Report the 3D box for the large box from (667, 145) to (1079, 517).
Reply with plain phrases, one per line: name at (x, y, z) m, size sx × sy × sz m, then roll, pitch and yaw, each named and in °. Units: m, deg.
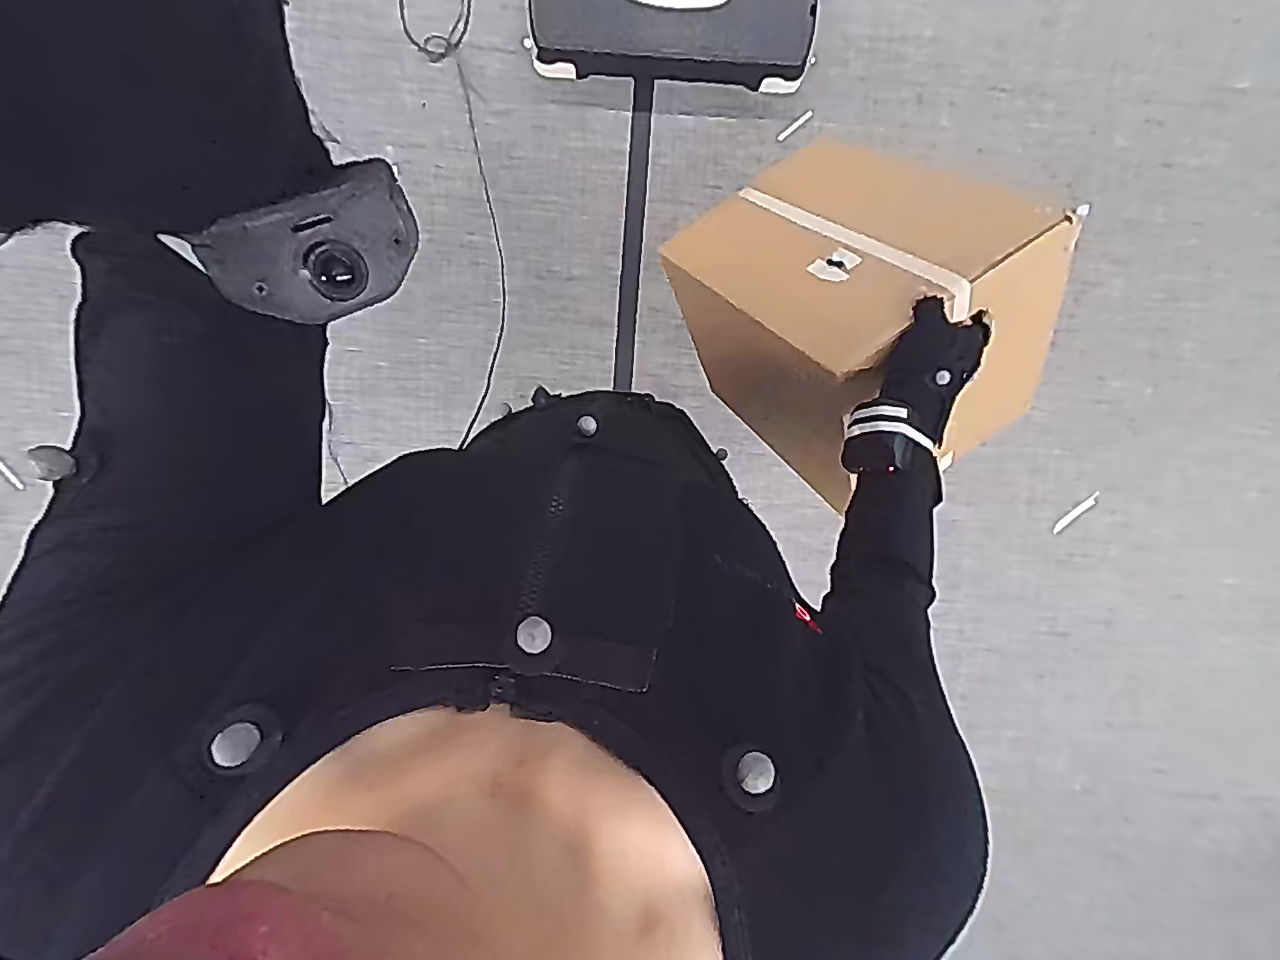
large box at (0.298, -0.227, 0.801) m, size 0.320 × 0.408 × 0.320 m, roll -33°, pitch 138°, yaw -1°
